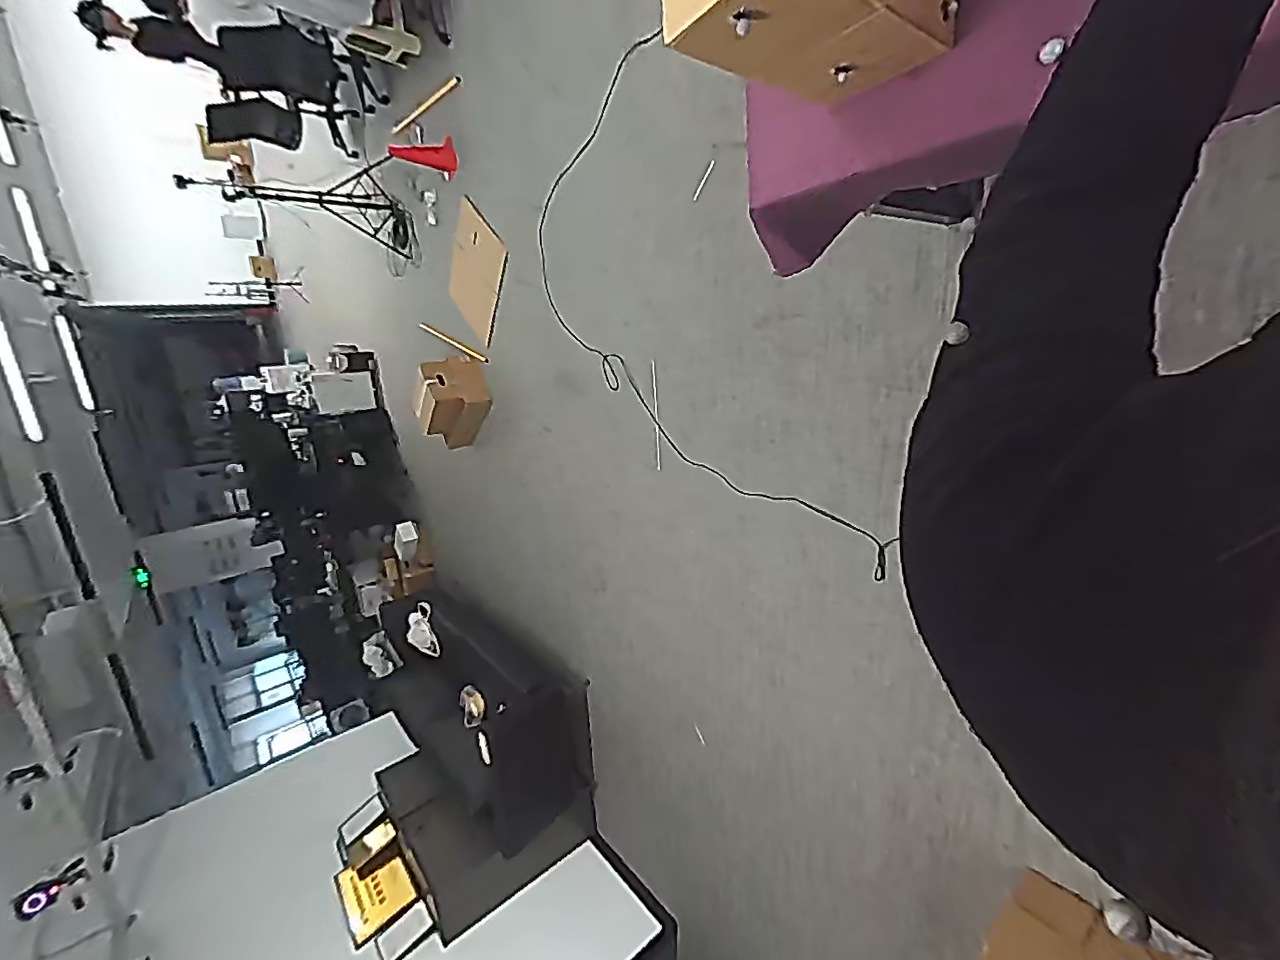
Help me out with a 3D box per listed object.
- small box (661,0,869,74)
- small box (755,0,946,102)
[{"bbox_3d":[0.134,-0.566,0.559,0.179,0.176,0.168,7,107,52],"label":"small box"},{"bbox_3d":[0.256,-0.601,0.660,0.179,0.176,0.168,9,109,52],"label":"small box"}]
